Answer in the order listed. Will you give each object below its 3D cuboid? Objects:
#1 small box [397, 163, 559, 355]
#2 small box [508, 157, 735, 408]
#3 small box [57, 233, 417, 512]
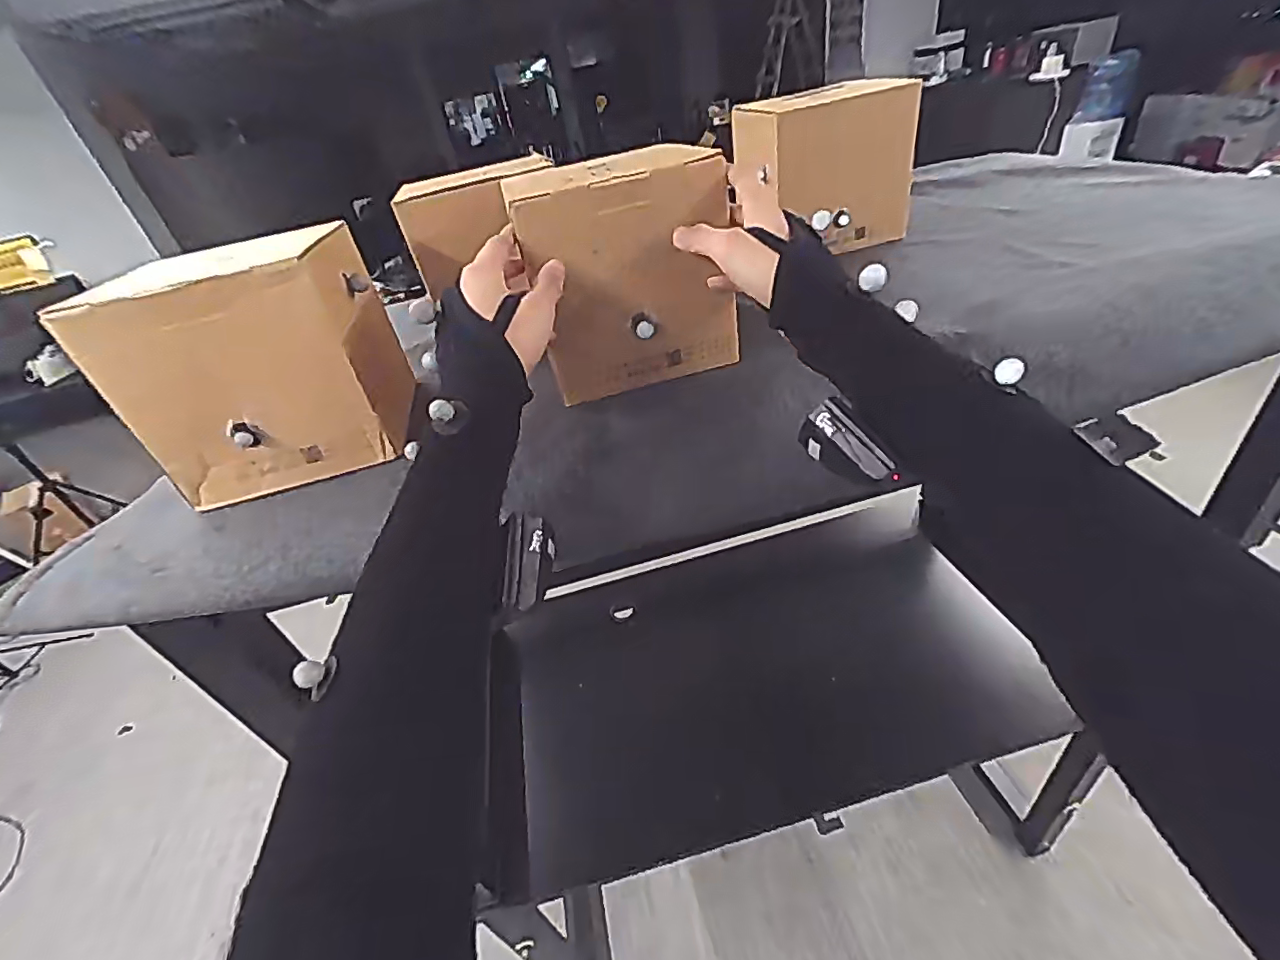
[{"bbox_3d":[-0.176,-0.277,0.674,0.179,0.176,0.168,-17,36,-7],"label":"small box"},{"bbox_3d":[-0.019,-0.190,0.509,0.168,0.176,0.179,-16,36,-6],"label":"small box"},{"bbox_3d":[-0.310,-0.099,0.473,0.168,0.176,0.179,-17,36,-7],"label":"small box"}]
